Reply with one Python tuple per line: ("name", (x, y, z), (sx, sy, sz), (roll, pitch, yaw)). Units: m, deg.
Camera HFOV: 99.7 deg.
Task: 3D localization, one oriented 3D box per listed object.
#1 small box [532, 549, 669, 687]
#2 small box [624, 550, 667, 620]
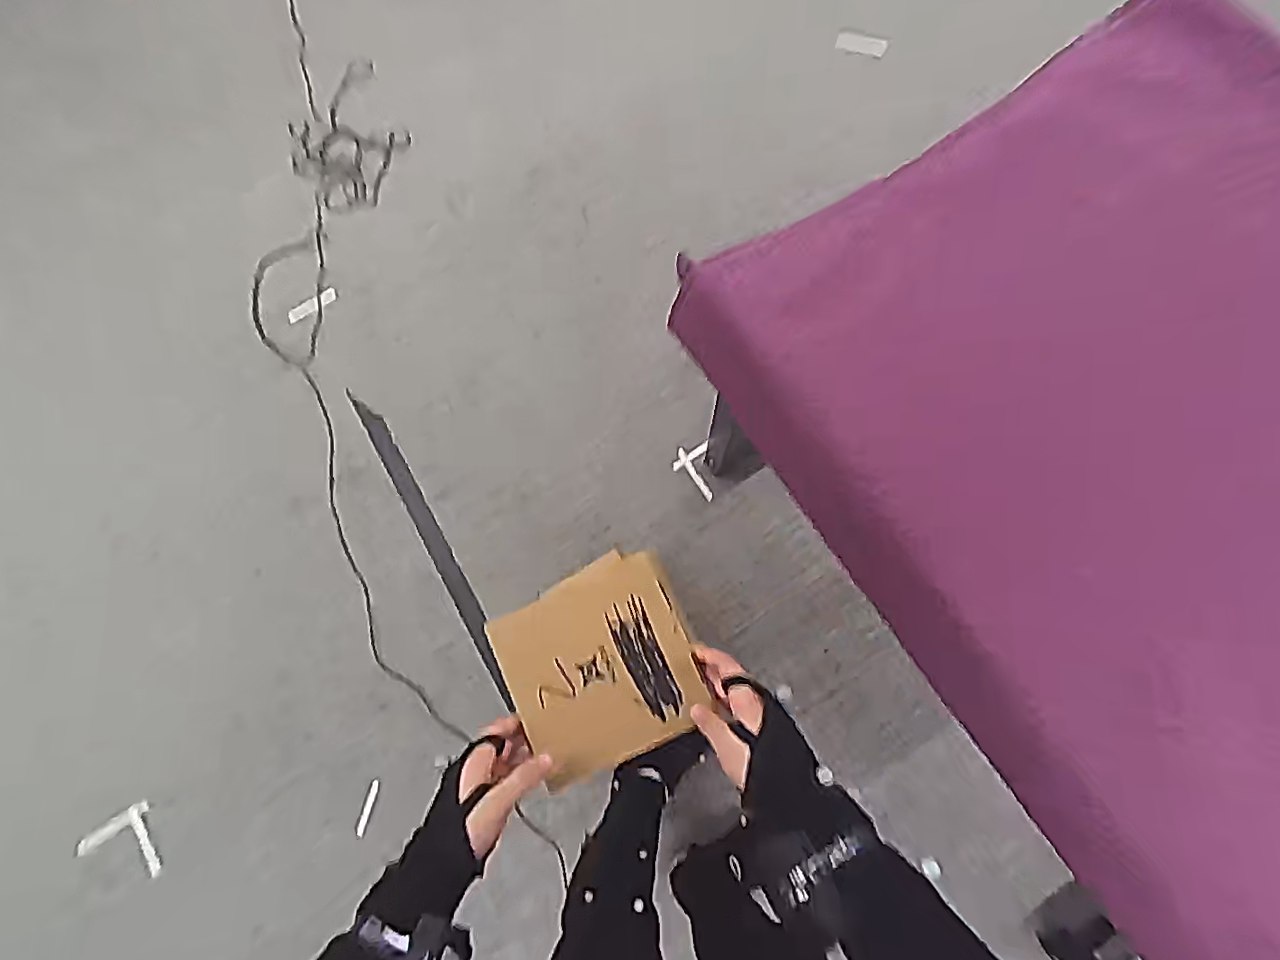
("small box", (-0.063, 0.239, 0.969), (0.179, 0.176, 0.168), (-32, 79, -2))
("small box", (-0.053, 0.262, 1.133), (0.179, 0.176, 0.168), (-27, 79, -2))
